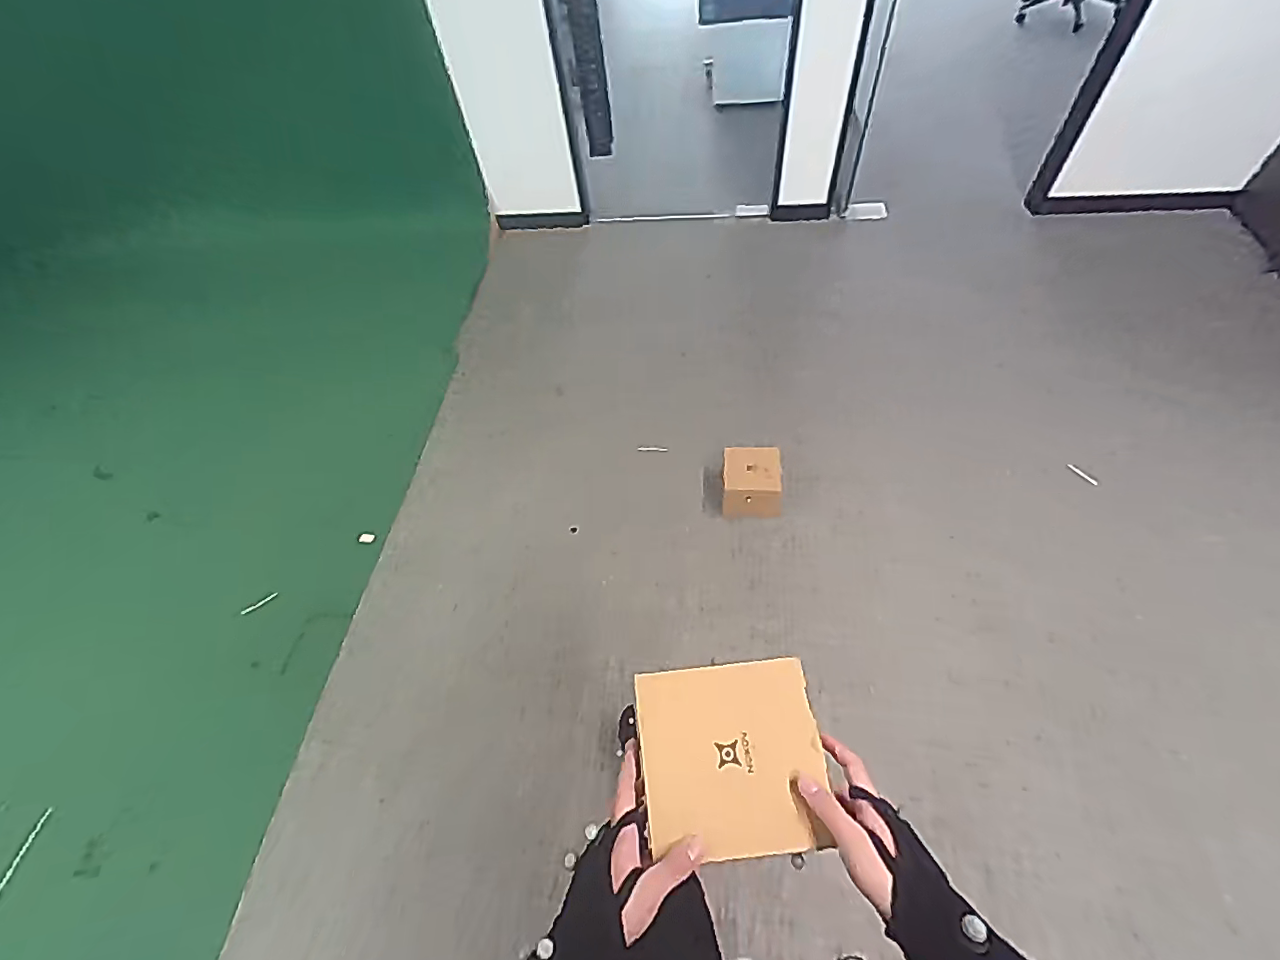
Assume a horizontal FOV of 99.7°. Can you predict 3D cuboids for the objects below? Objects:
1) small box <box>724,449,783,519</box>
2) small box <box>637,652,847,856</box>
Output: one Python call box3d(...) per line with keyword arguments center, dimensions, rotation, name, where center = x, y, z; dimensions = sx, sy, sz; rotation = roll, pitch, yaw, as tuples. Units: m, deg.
box3d(center=(0.361, 0.015, 1.748), dimensions=(0.179, 0.176, 0.168), rotation=(2, 57, 7), name="small box")
box3d(center=(0.089, 0.293, 0.579), dimensions=(0.179, 0.176, 0.168), rotation=(-4, 59, -4), name="small box")
